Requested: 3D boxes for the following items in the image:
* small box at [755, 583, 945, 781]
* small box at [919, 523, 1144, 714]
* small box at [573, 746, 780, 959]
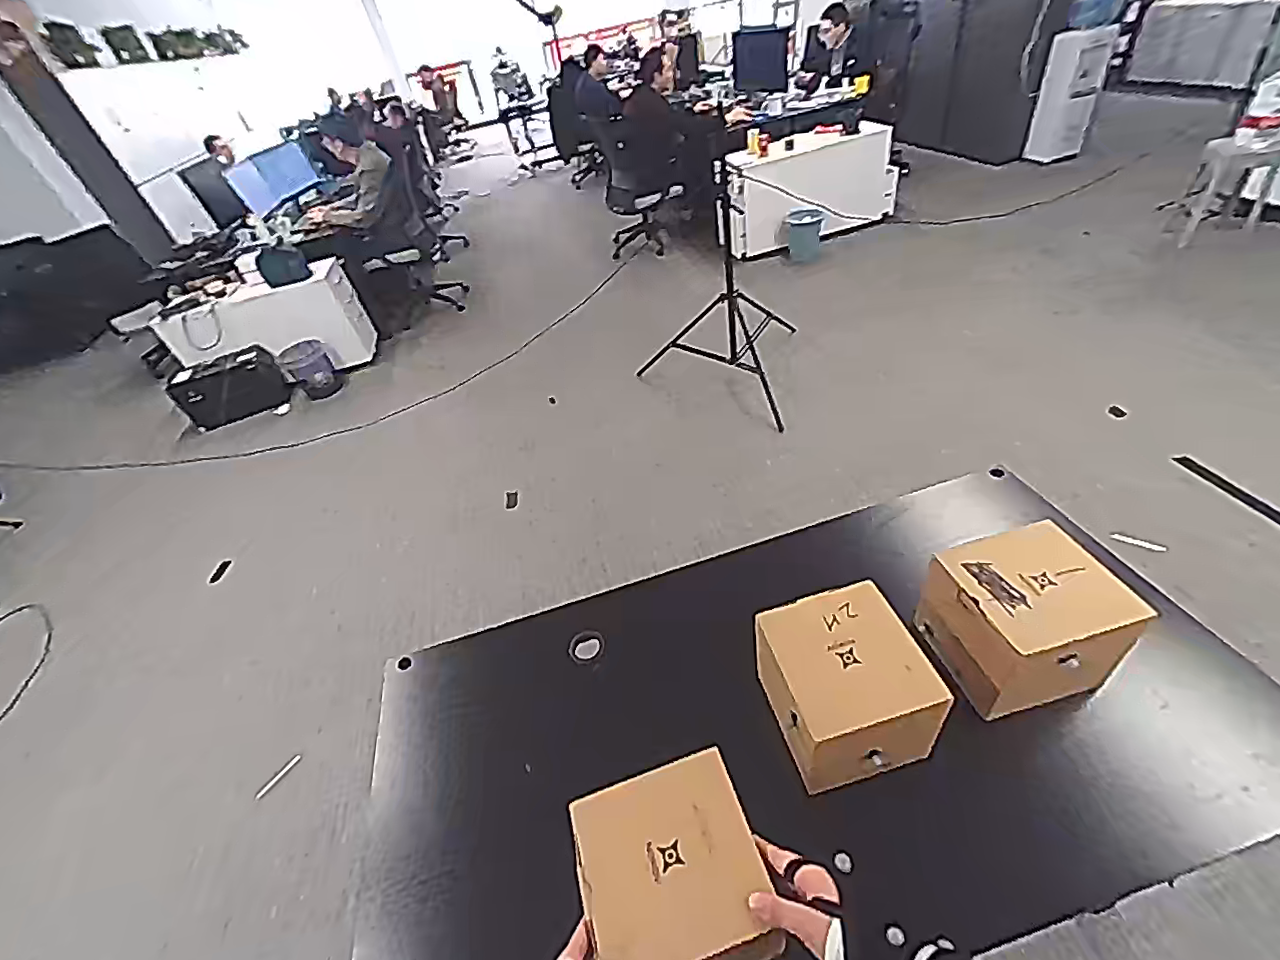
[{"bbox_3d":[0.264,0.273,0.719,0.168,0.176,0.179,-15,41,-3],"label":"small box"},{"bbox_3d":[0.511,0.193,0.743,0.179,0.176,0.168,-15,41,-3],"label":"small box"},{"bbox_3d":[0.042,0.436,0.600,0.179,0.176,0.168,-18,42,-7],"label":"small box"}]
